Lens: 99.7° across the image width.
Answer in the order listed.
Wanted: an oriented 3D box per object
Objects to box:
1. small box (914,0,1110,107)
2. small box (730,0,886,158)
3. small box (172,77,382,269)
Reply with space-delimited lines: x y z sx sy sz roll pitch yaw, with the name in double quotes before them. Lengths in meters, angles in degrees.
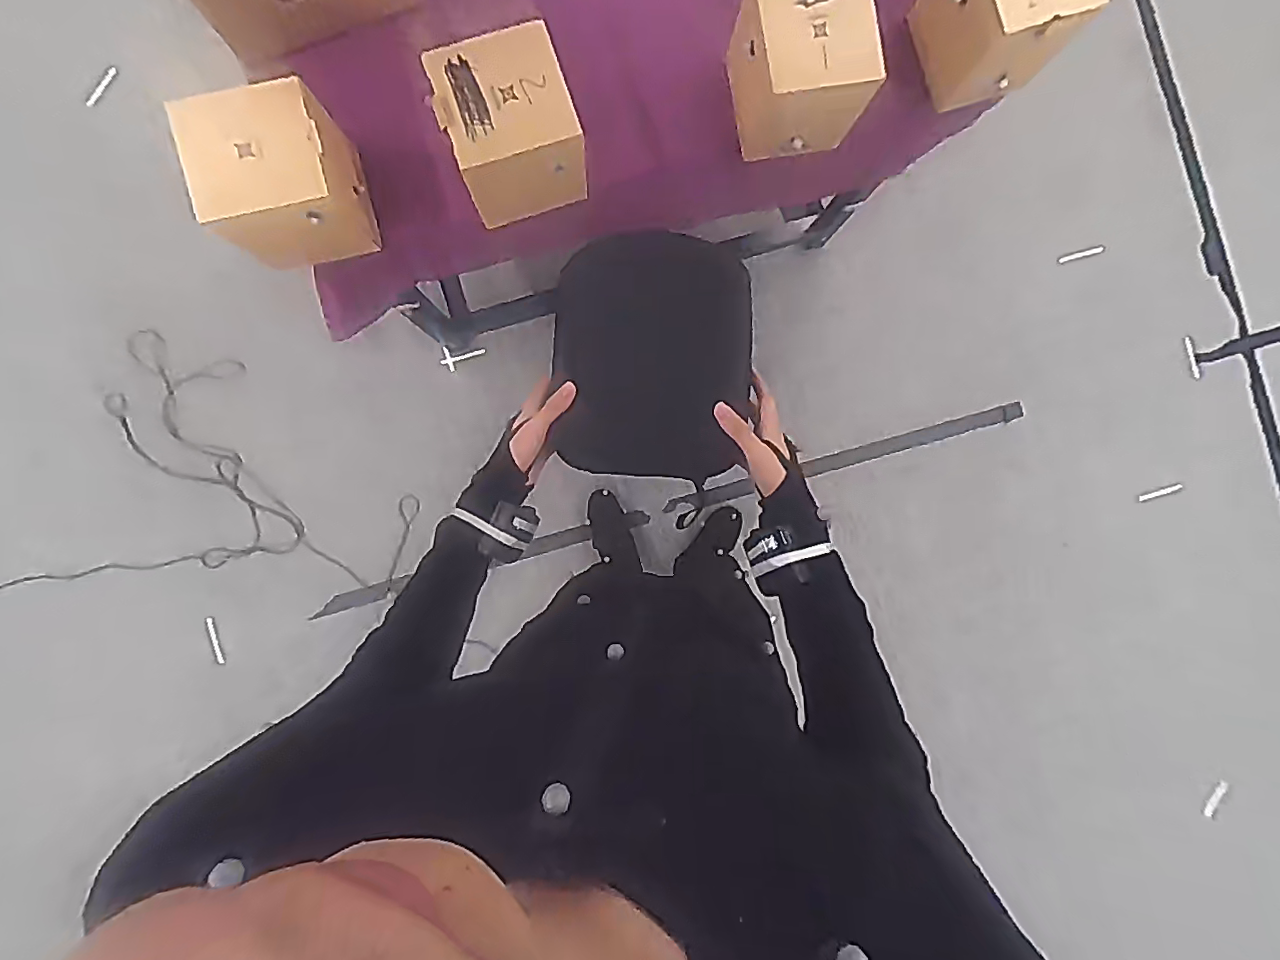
"small box" 0.562 -0.736 0.841 0.168 0.176 0.179 -17 91 -2
"small box" 0.244 -0.634 0.827 0.168 0.176 0.179 -10 92 -3
"small box" -0.511 -0.431 0.787 0.179 0.176 0.168 -15 91 -4
